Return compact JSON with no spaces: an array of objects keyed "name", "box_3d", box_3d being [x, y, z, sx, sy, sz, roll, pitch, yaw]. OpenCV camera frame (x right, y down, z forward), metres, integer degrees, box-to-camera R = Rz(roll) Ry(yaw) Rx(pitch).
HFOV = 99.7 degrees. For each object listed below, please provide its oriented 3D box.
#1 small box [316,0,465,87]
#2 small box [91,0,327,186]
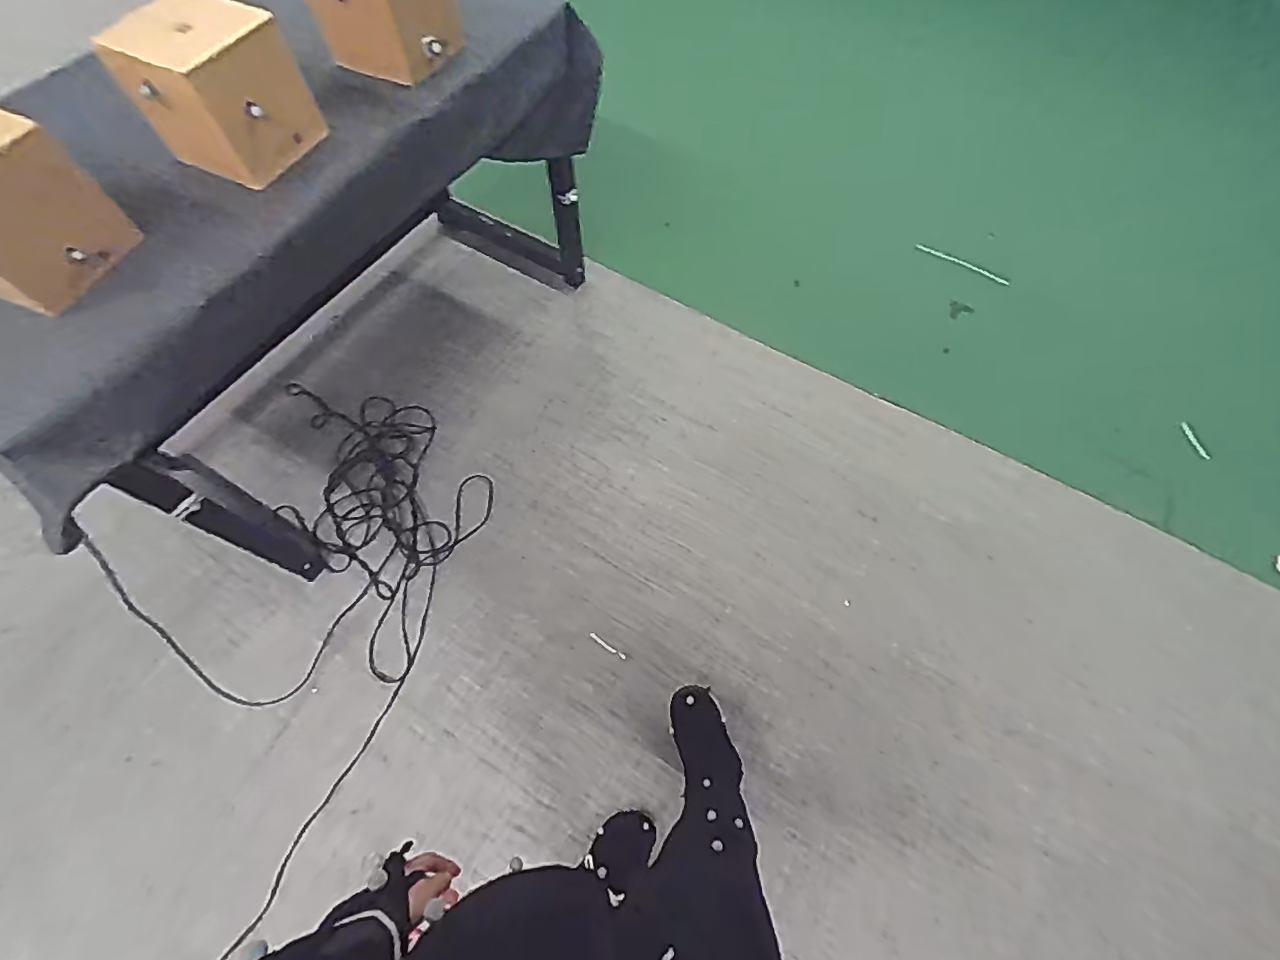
[{"name":"small box","box_3d":[-0.433,-0.815,0.923,0.179,0.176,0.168,23,67,9]},{"name":"small box","box_3d":[-0.617,-0.575,0.803,0.179,0.176,0.168,24,66,11]}]
